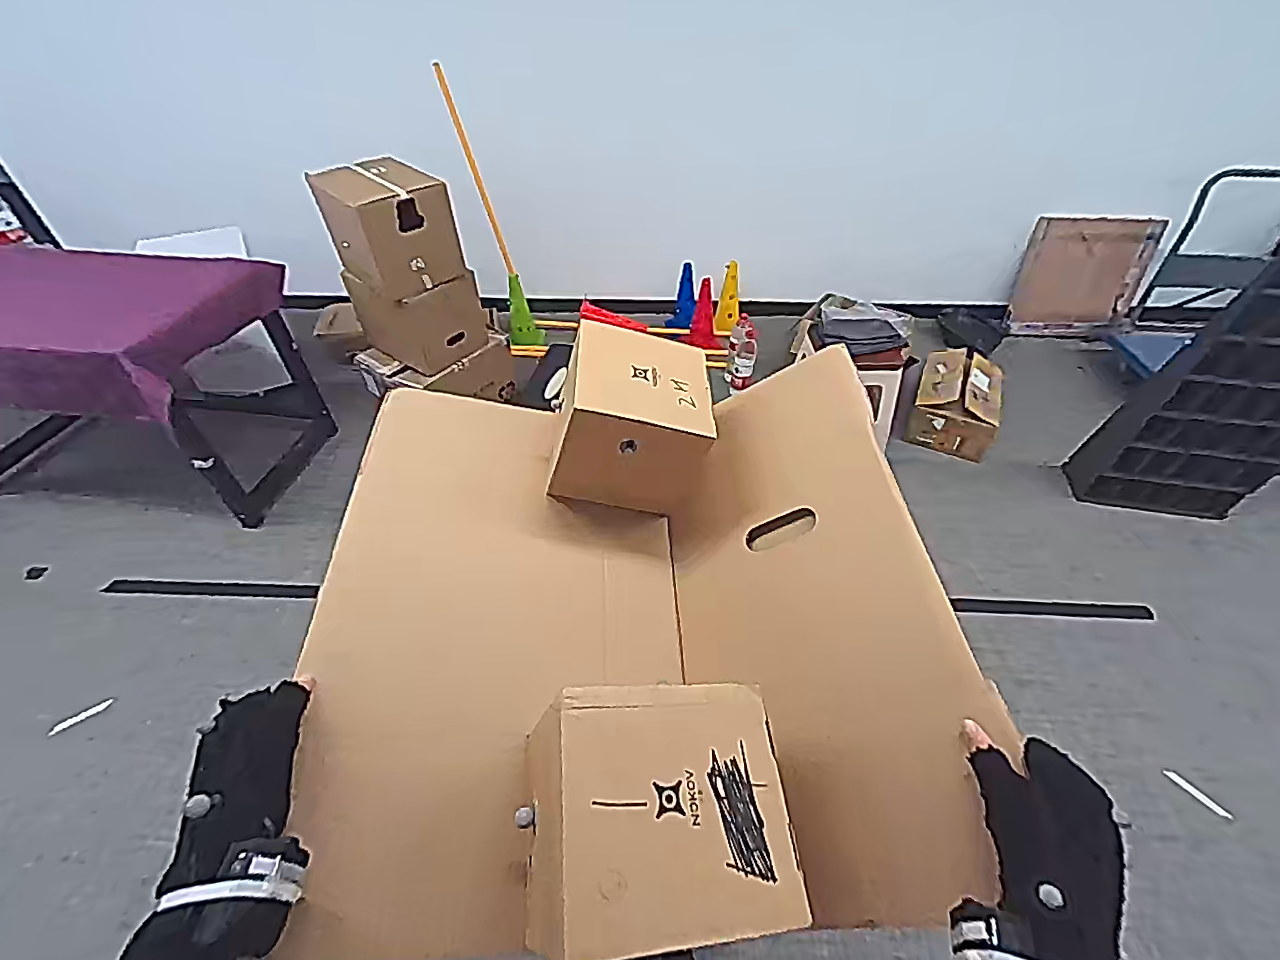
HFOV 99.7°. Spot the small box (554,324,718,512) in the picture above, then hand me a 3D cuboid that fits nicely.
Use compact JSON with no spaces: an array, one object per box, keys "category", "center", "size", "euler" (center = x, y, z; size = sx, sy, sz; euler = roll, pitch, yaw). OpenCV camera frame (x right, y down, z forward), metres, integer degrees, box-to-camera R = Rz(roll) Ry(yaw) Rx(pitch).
[{"category":"small box","center":[-0.013,-0.075,0.731],"size":[0.179,0.176,0.168],"euler":[12,50,-14]}]
